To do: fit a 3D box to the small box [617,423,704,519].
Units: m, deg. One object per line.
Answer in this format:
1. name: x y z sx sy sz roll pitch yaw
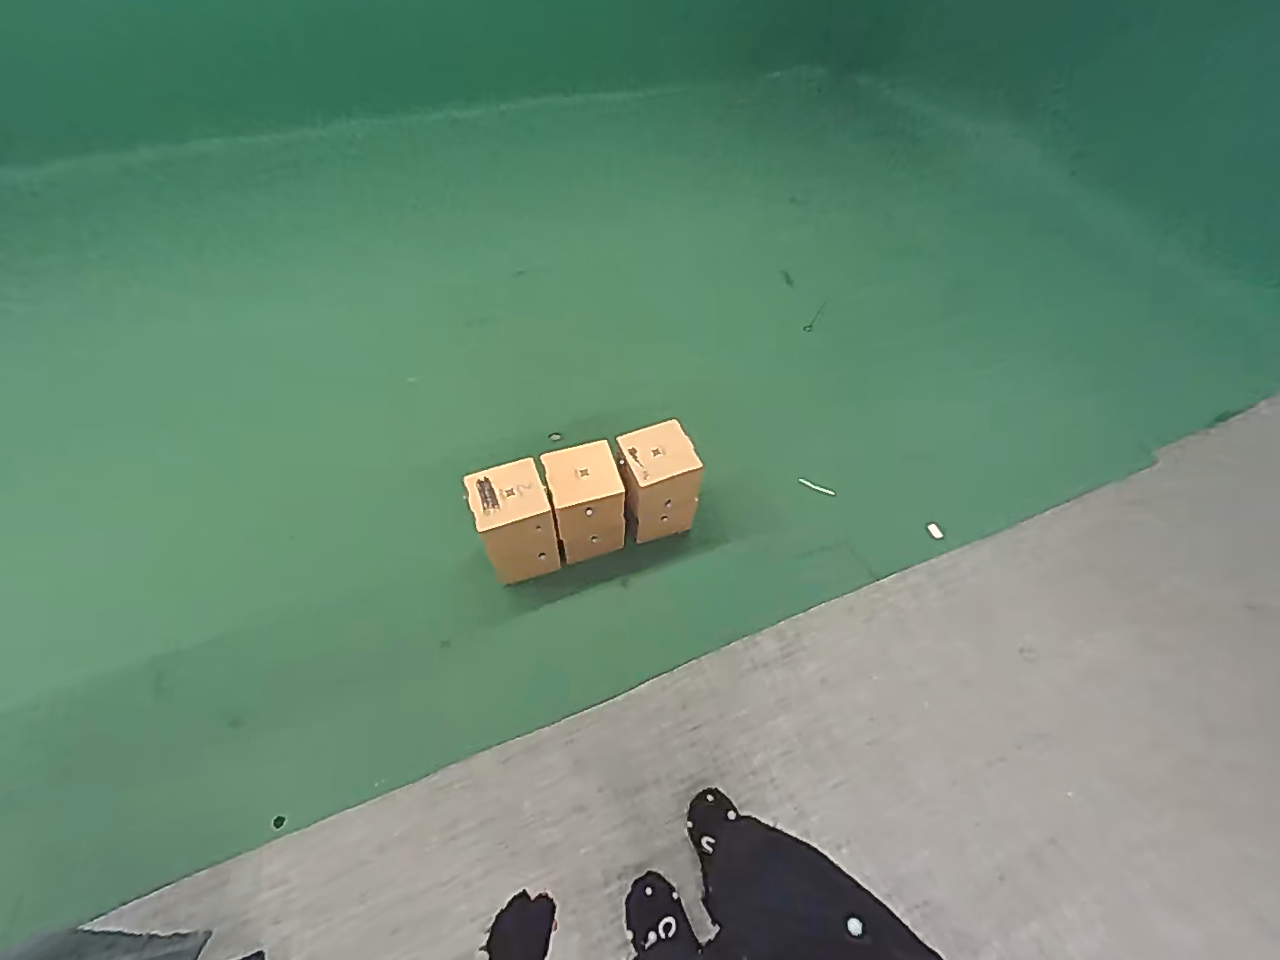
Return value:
1. small box: 0.048 -0.021 1.448 0.179 0.176 0.168 -17 59 -15
